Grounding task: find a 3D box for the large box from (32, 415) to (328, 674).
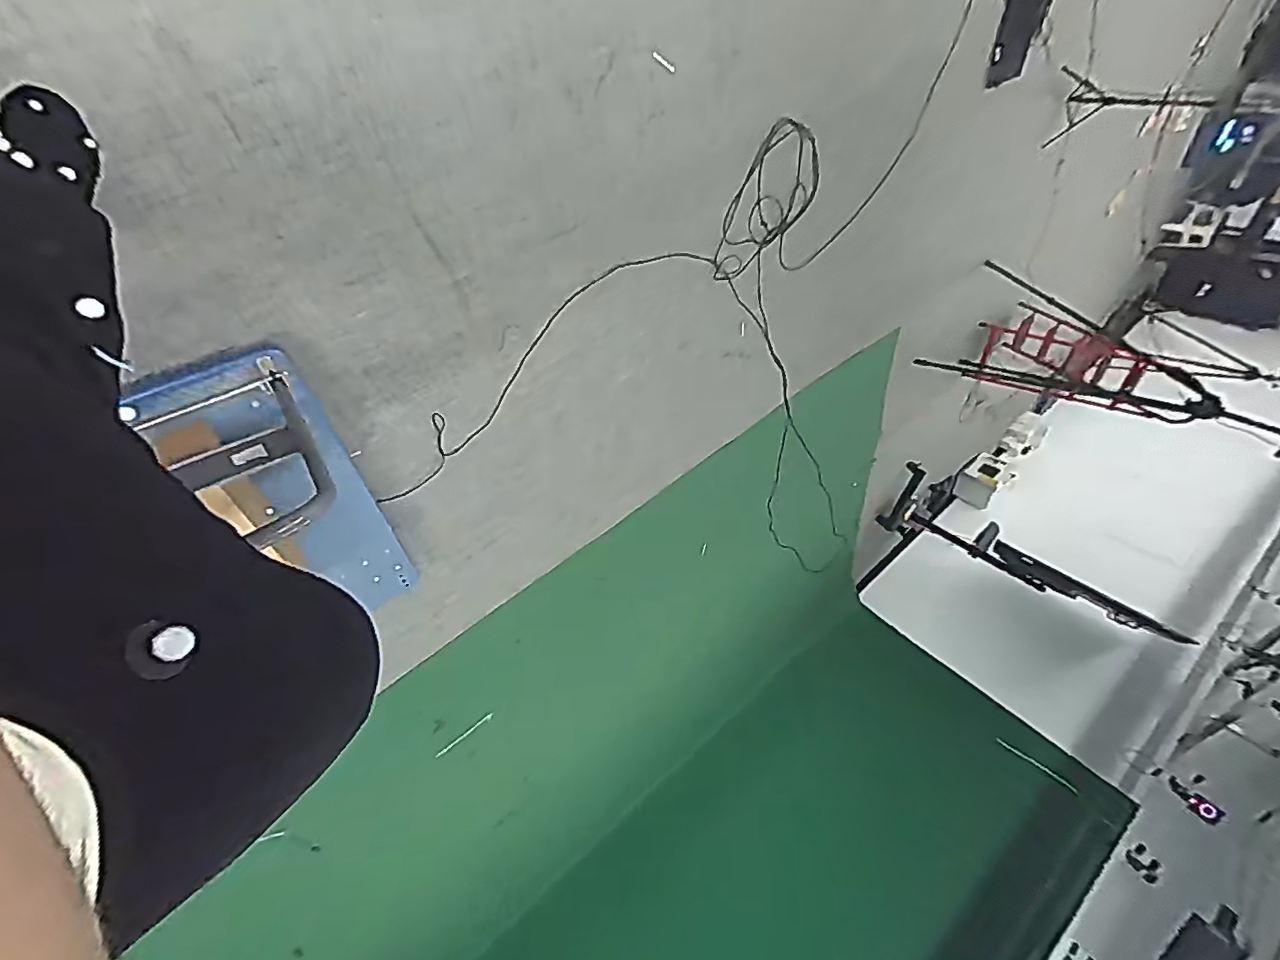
[{"bbox_3d":[-0.981,0.135,1.192,0.320,0.320,0.408,-31,137,-23],"label":"large box"}]
